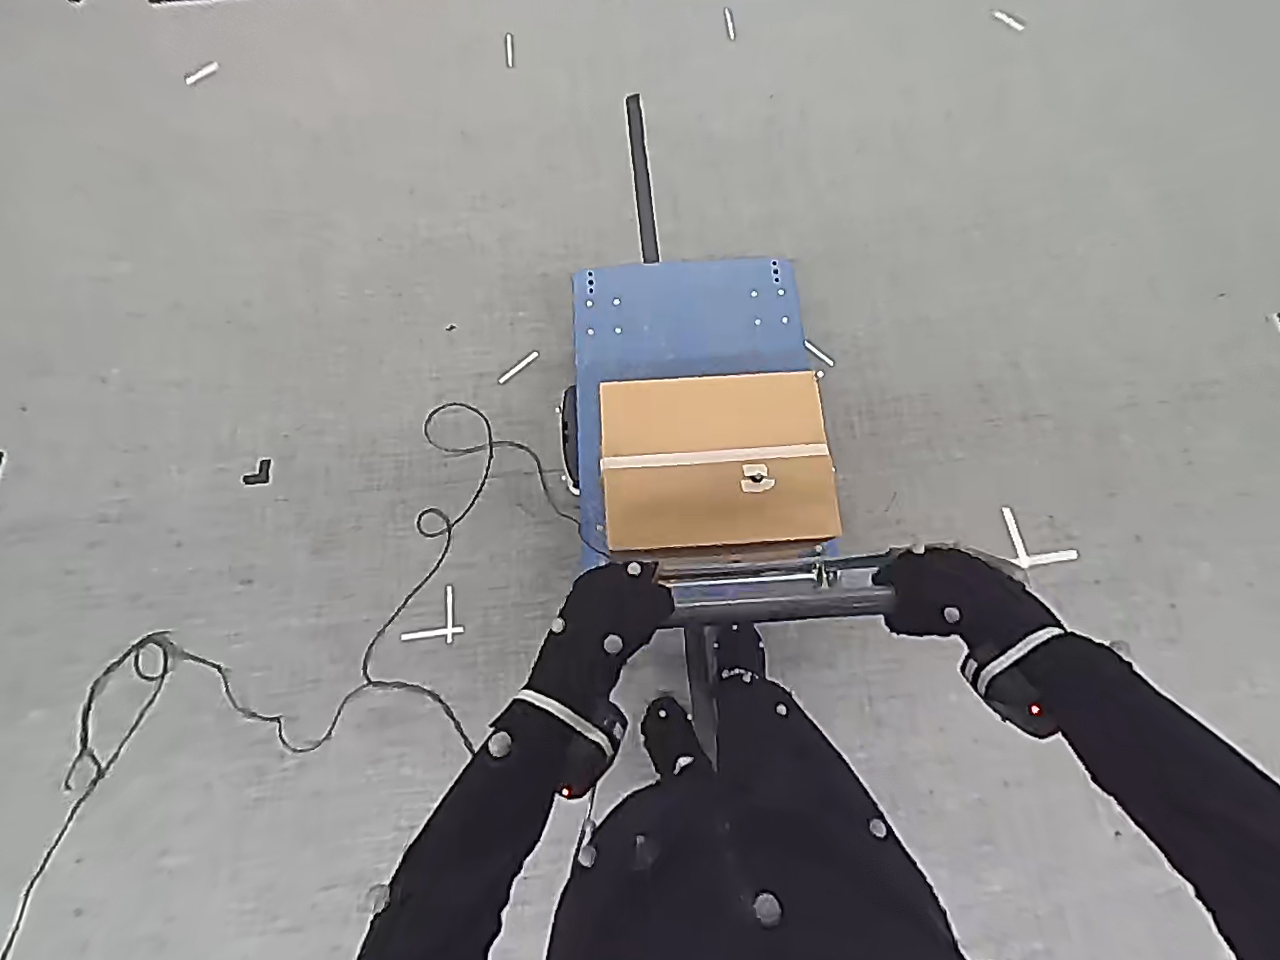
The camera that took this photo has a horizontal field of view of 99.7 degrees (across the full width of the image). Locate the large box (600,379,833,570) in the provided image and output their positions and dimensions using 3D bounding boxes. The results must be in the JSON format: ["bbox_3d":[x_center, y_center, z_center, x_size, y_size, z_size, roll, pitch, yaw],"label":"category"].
[{"bbox_3d":[0.131,0.006,1.128,0.408,0.320,0.320,-3,77,-2],"label":"large box"}]
